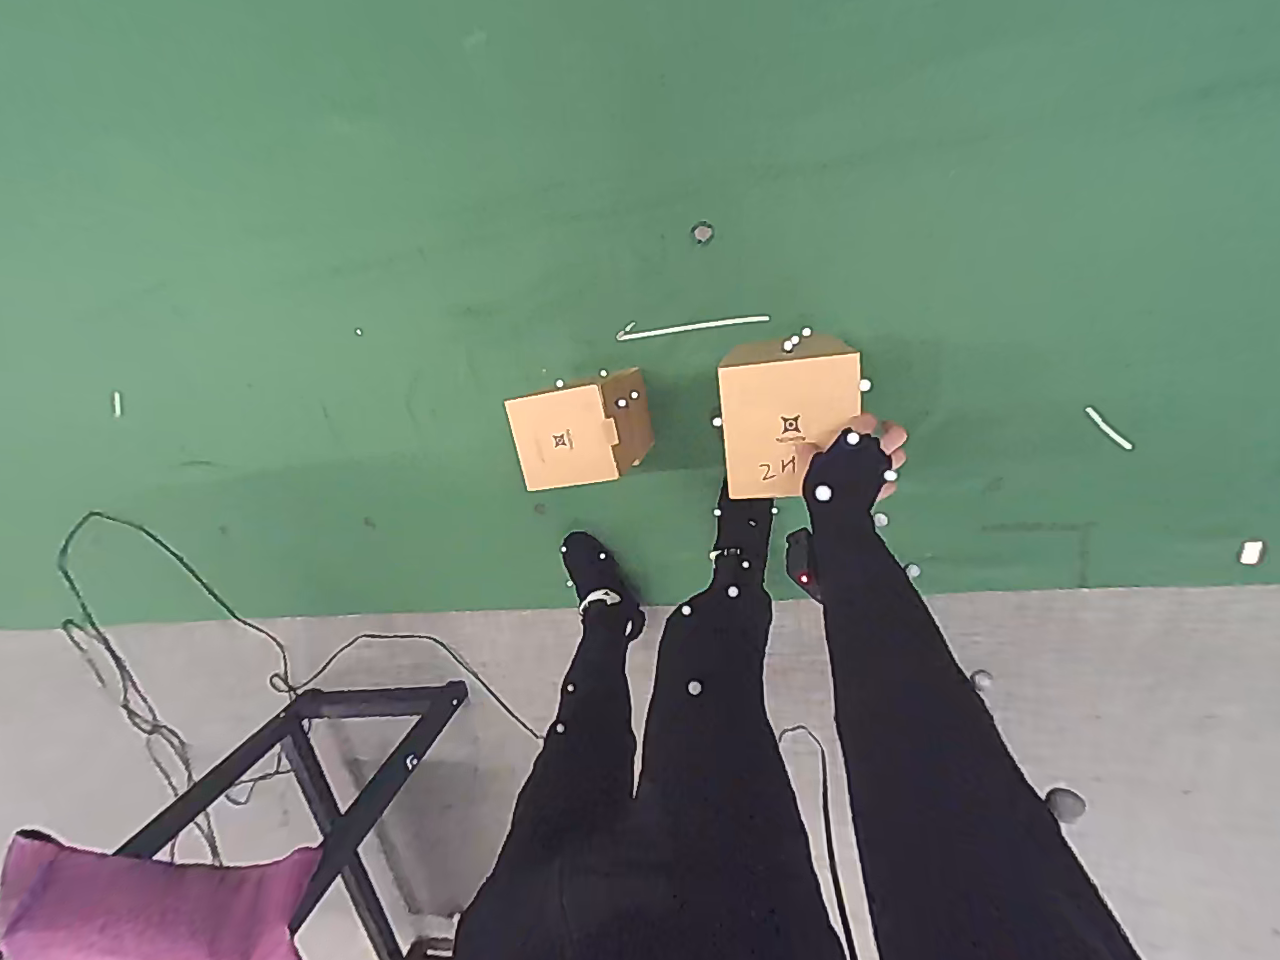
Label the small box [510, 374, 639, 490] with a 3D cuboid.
[{"bbox_3d":[-0.107,-0.092,0.986,0.179,0.176,0.168,-7,105,16],"label":"small box"}]

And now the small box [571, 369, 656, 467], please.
[{"bbox_3d":[-0.070,-0.126,1.141,0.168,0.176,0.179,-7,105,15],"label":"small box"}]

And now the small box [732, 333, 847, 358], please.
[{"bbox_3d":[0.245,-0.137,0.888,0.168,0.176,0.179,-5,108,13],"label":"small box"}]

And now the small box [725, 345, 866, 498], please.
[{"bbox_3d":[0.206,-0.086,0.736,0.168,0.176,0.179,-3,108,14],"label":"small box"}]
